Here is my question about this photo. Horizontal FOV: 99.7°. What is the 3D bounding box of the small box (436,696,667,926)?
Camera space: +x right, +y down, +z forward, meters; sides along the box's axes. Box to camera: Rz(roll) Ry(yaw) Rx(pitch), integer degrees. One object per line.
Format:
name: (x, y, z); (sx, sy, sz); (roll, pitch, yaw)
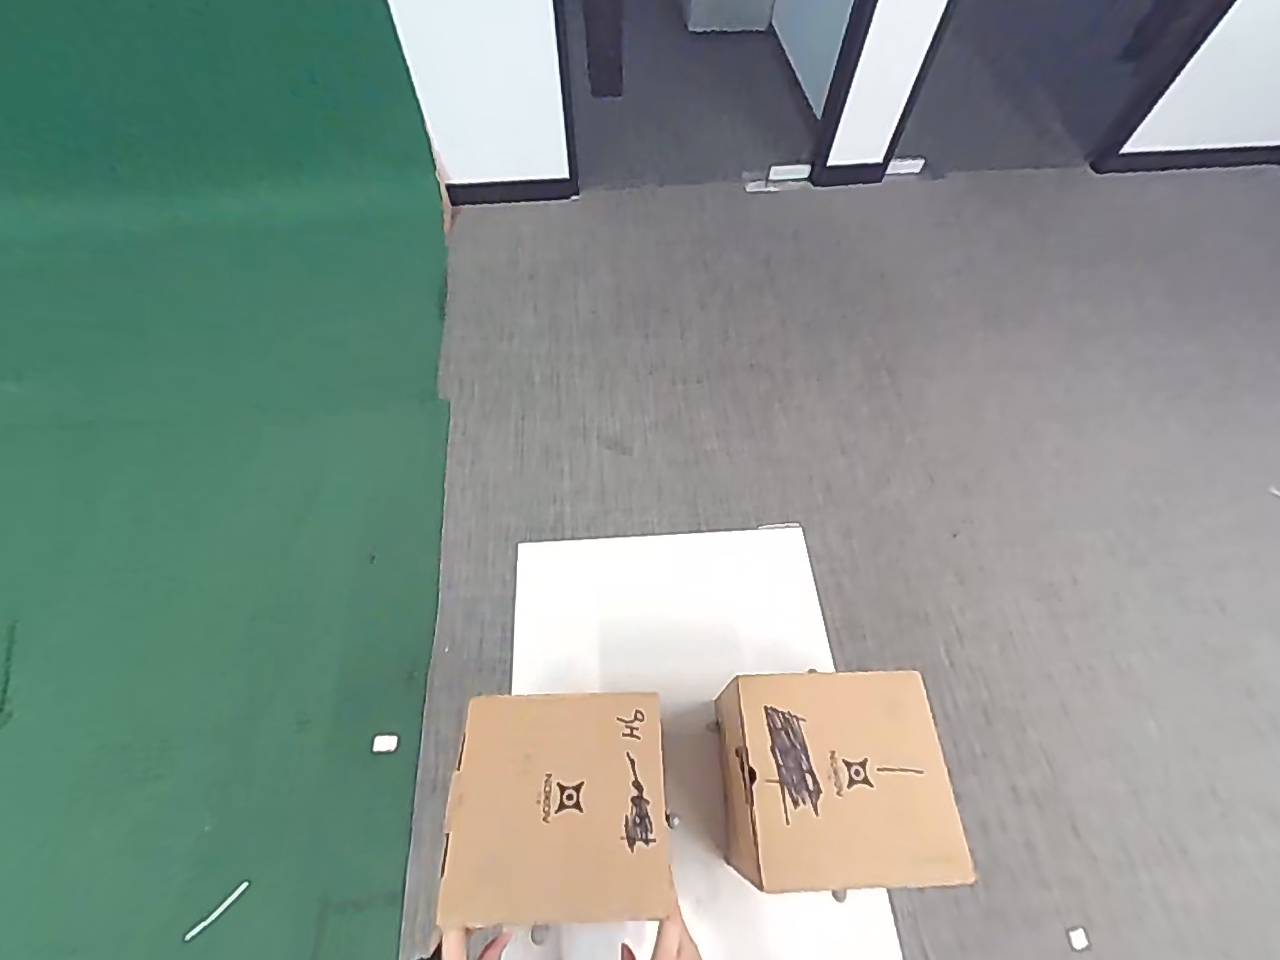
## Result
small box: (-0.069, 0.315, 0.513); (0.179, 0.176, 0.168); (0, 52, -3)

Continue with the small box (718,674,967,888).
small box: (0.176, 0.297, 0.543); (0.179, 0.176, 0.168); (-1, 60, -2)
